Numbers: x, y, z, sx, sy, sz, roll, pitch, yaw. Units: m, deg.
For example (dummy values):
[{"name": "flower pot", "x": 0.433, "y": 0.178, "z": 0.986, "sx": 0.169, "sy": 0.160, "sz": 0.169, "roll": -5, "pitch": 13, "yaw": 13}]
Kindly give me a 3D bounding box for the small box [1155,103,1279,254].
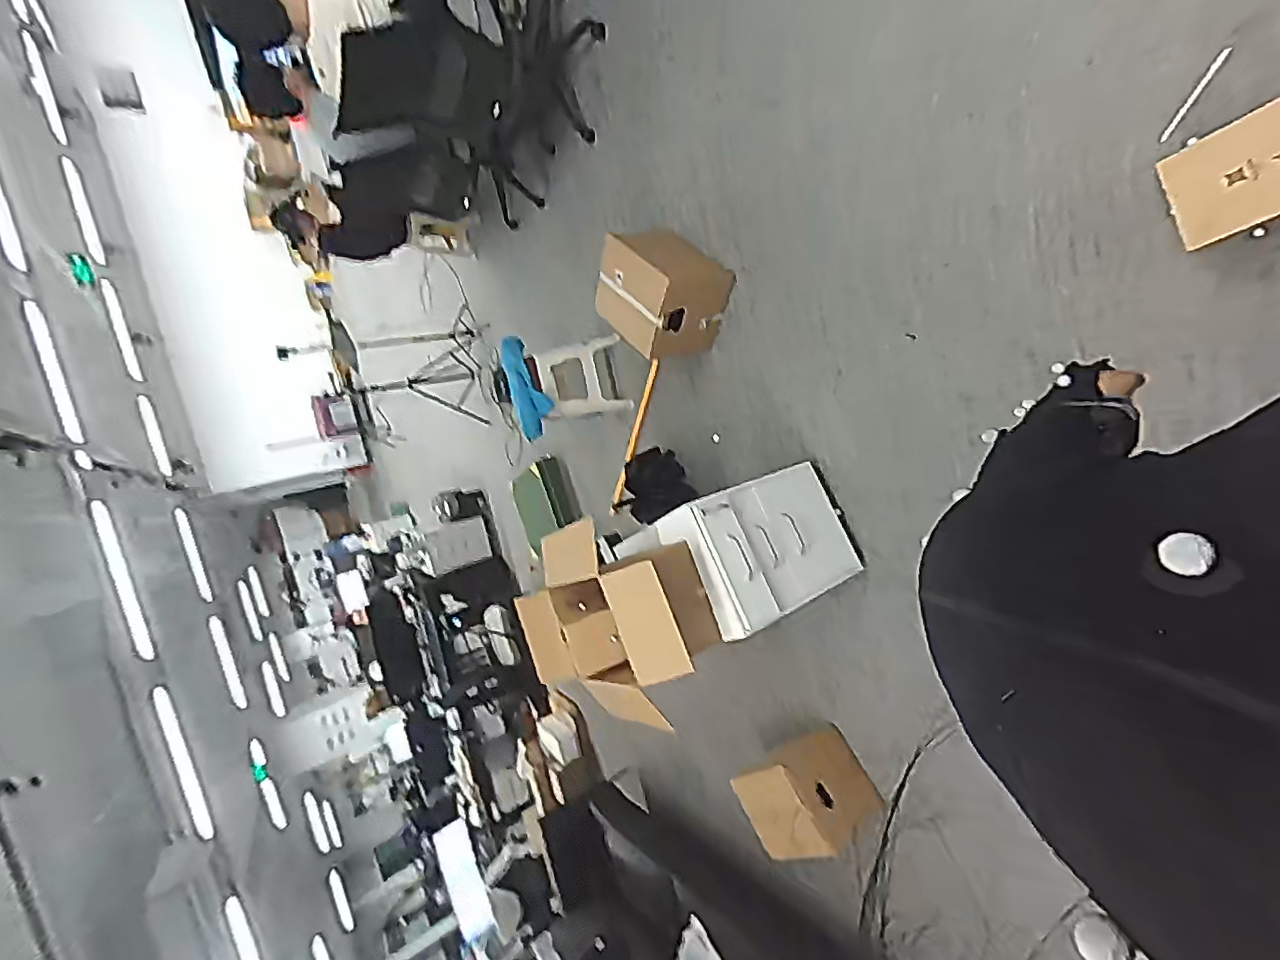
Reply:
[{"name": "small box", "x": 1.019, "y": -0.495, "z": 0.898, "sx": 0.179, "sy": 0.176, "sz": 0.168, "roll": -22, "pitch": 85, "yaw": 57}]
